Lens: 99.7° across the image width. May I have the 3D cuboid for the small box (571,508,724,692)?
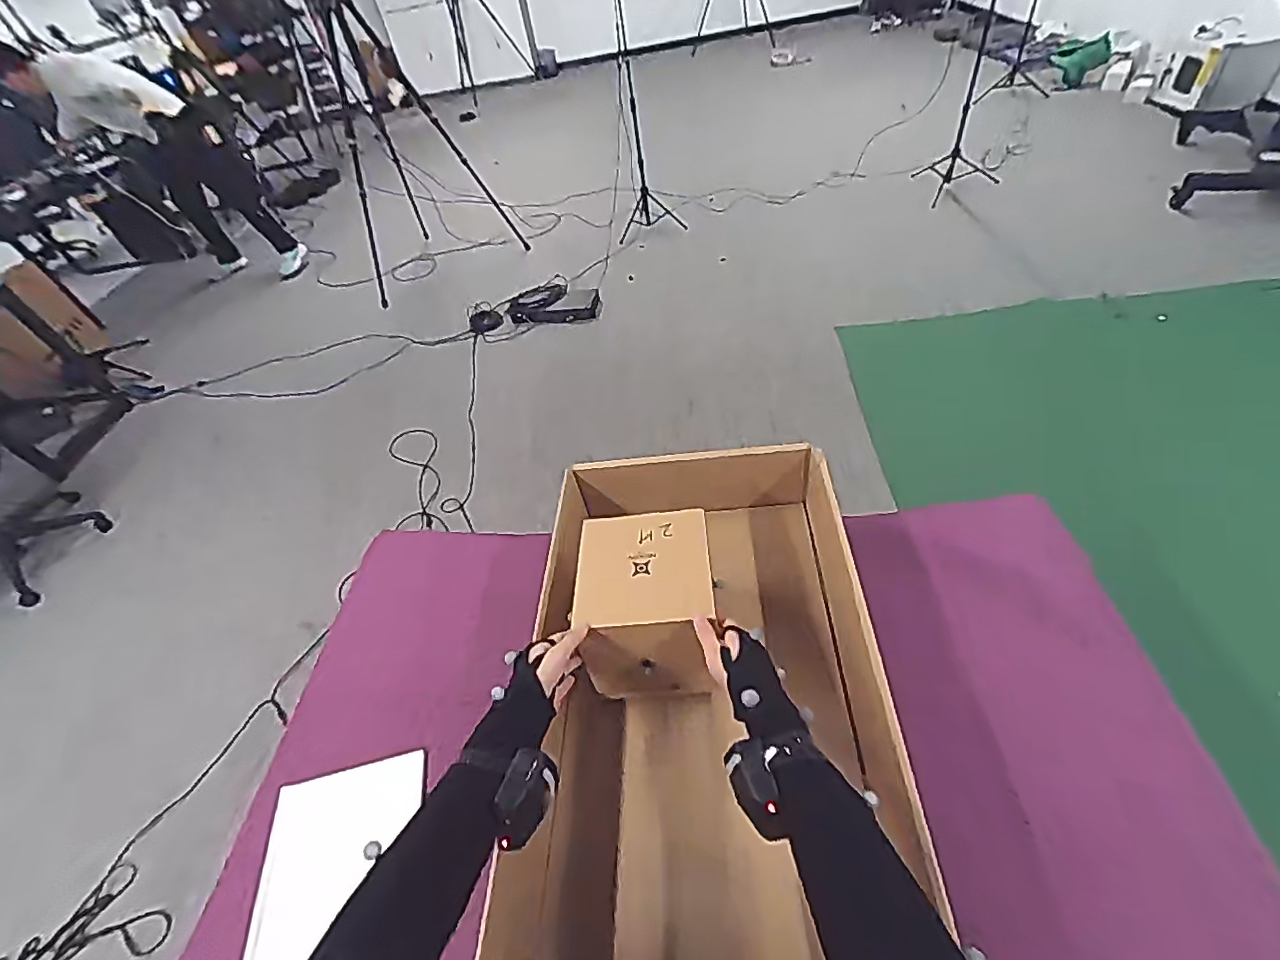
[{"bbox_3d":[0.017,0.163,0.710,0.168,0.176,0.179,-7,40,7],"label":"small box"}]
